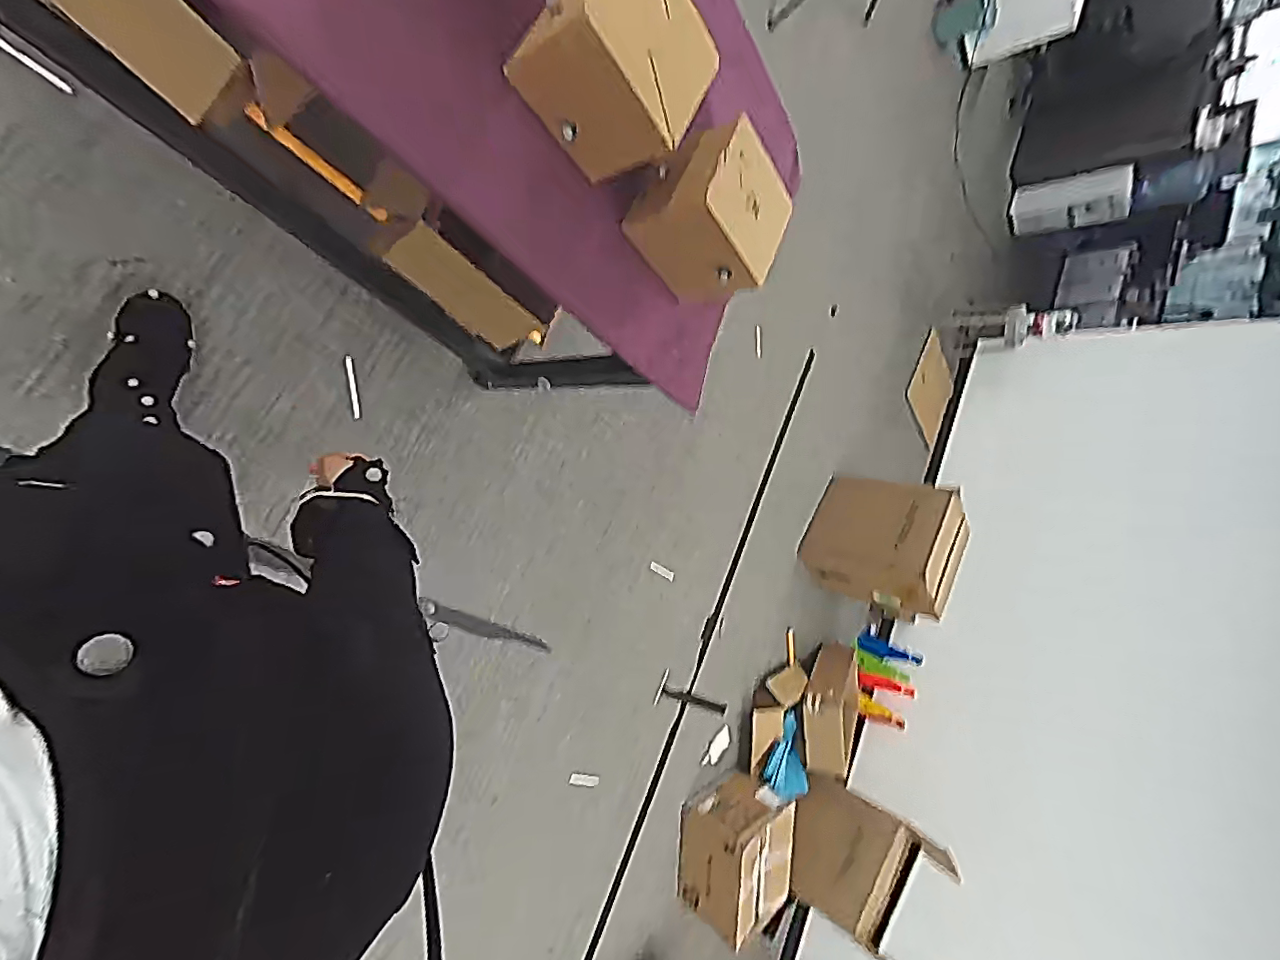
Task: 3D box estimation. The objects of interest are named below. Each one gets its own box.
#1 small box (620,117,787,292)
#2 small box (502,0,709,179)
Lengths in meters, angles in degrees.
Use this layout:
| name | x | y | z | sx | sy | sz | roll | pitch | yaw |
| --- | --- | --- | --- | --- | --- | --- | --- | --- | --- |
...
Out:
| name | x | y | z | sx | sy | sz | roll | pitch | yaw |
| --- | --- | --- | --- | --- | --- | --- | --- | --- | --- |
| small box | 0.102 | -0.421 | 0.863 | 0.179 | 0.176 | 0.168 | 38 | 68 | -42 |
| small box | -0.038 | -0.543 | 0.702 | 0.179 | 0.176 | 0.168 | 38 | 69 | -41 |
